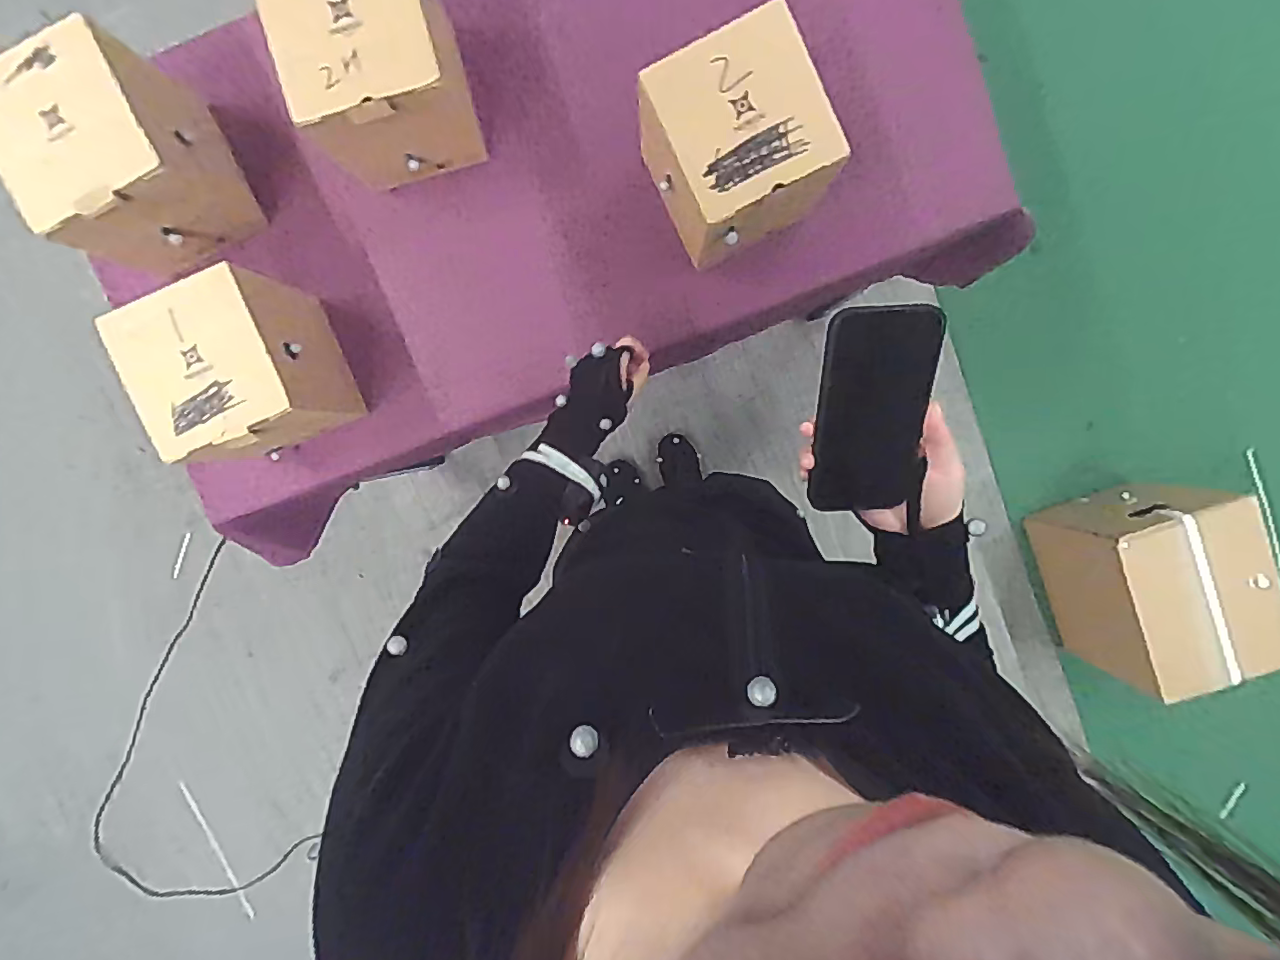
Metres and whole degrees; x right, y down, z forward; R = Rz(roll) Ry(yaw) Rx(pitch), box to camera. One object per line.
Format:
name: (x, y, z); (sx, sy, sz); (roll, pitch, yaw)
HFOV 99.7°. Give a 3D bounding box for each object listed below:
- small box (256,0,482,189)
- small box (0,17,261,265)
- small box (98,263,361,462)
small box: (-0.309, -0.485, 0.640); (0.168, 0.176, 0.179); (-14, 95, 3)
small box: (-0.619, -0.384, 0.657); (0.168, 0.176, 0.179); (-25, 96, 3)
small box: (-0.492, -0.136, 0.679); (0.168, 0.176, 0.179); (-22, 93, 3)
